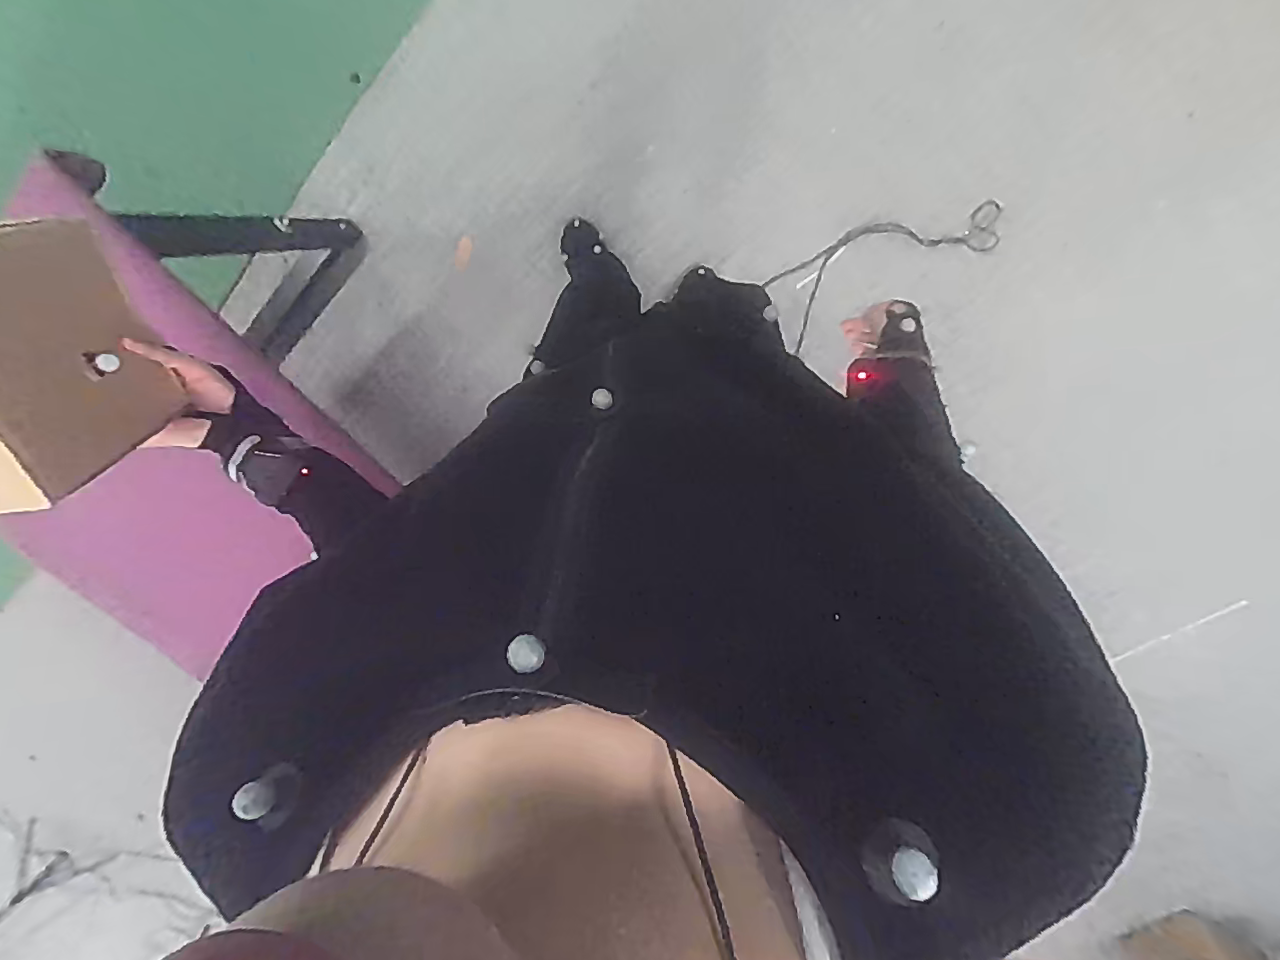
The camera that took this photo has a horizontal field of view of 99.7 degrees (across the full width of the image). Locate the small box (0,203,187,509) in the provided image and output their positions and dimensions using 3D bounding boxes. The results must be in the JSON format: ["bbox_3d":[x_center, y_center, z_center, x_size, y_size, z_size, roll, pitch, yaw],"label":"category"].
[{"bbox_3d":[-0.491,-0.092,0.384,0.168,0.179,0.176,-6,125,-5],"label":"small box"}]
